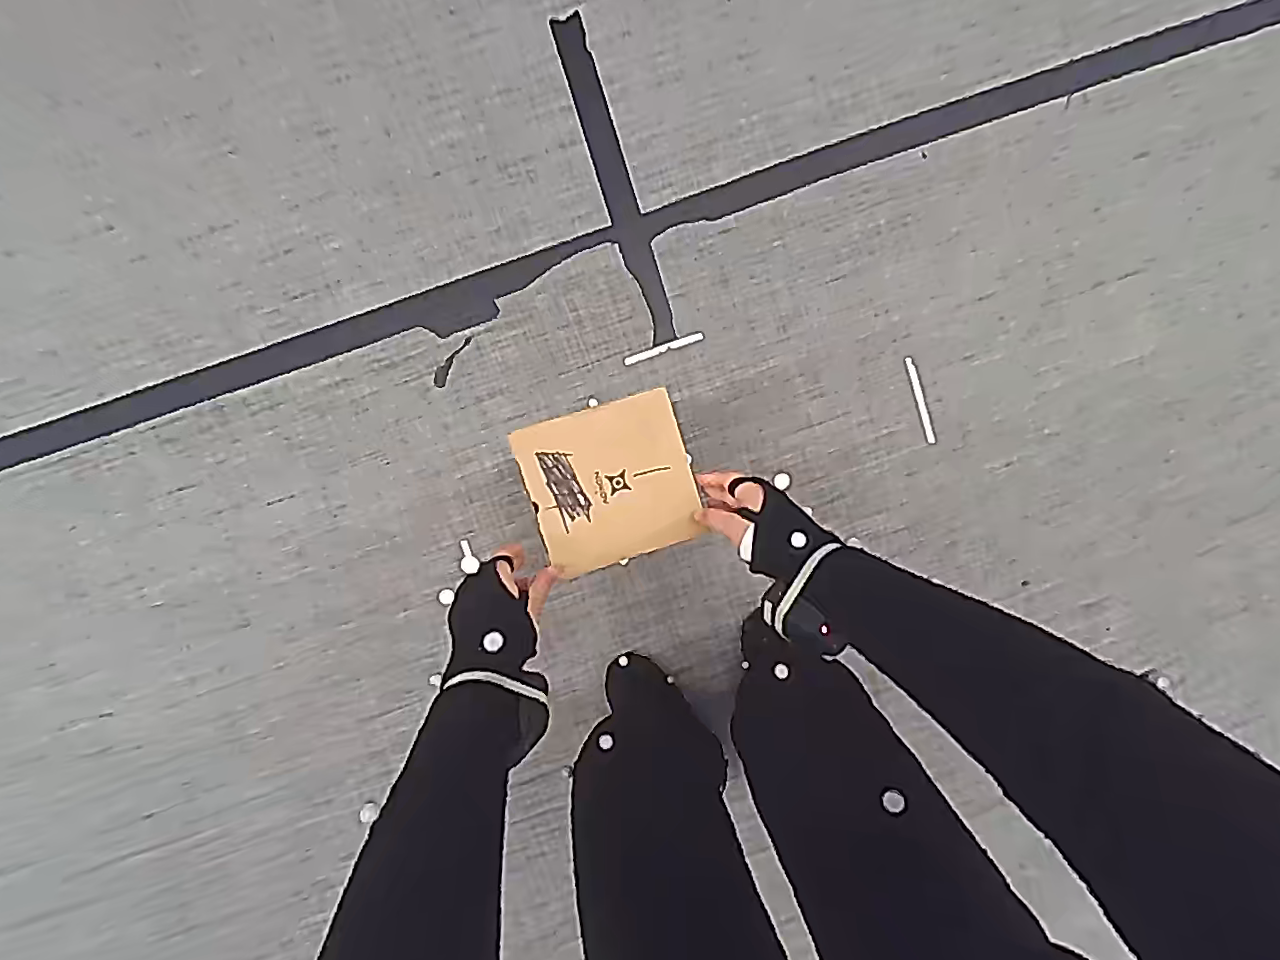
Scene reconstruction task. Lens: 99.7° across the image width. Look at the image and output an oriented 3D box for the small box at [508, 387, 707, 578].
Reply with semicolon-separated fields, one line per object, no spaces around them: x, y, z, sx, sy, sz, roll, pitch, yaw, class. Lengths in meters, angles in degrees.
-0.036;0.000;0.644;0.179;0.176;0.168;-17;94;-2;small box
